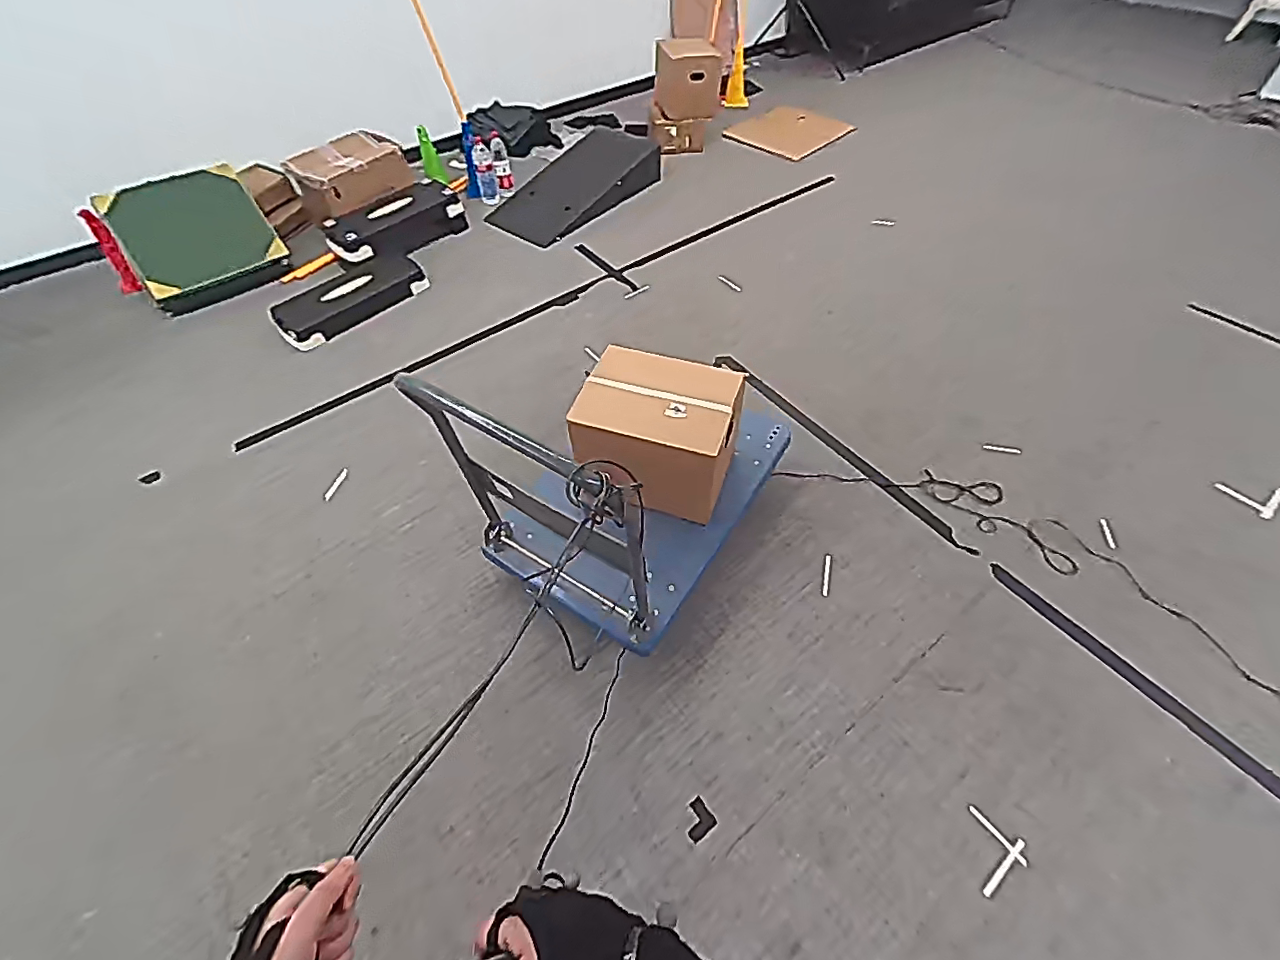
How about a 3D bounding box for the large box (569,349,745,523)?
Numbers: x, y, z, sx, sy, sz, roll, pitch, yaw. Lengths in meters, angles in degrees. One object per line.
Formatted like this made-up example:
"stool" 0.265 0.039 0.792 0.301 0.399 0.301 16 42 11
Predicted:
"large box" 0.052 -0.125 1.543 0.408 0.320 0.320 15 56 13
